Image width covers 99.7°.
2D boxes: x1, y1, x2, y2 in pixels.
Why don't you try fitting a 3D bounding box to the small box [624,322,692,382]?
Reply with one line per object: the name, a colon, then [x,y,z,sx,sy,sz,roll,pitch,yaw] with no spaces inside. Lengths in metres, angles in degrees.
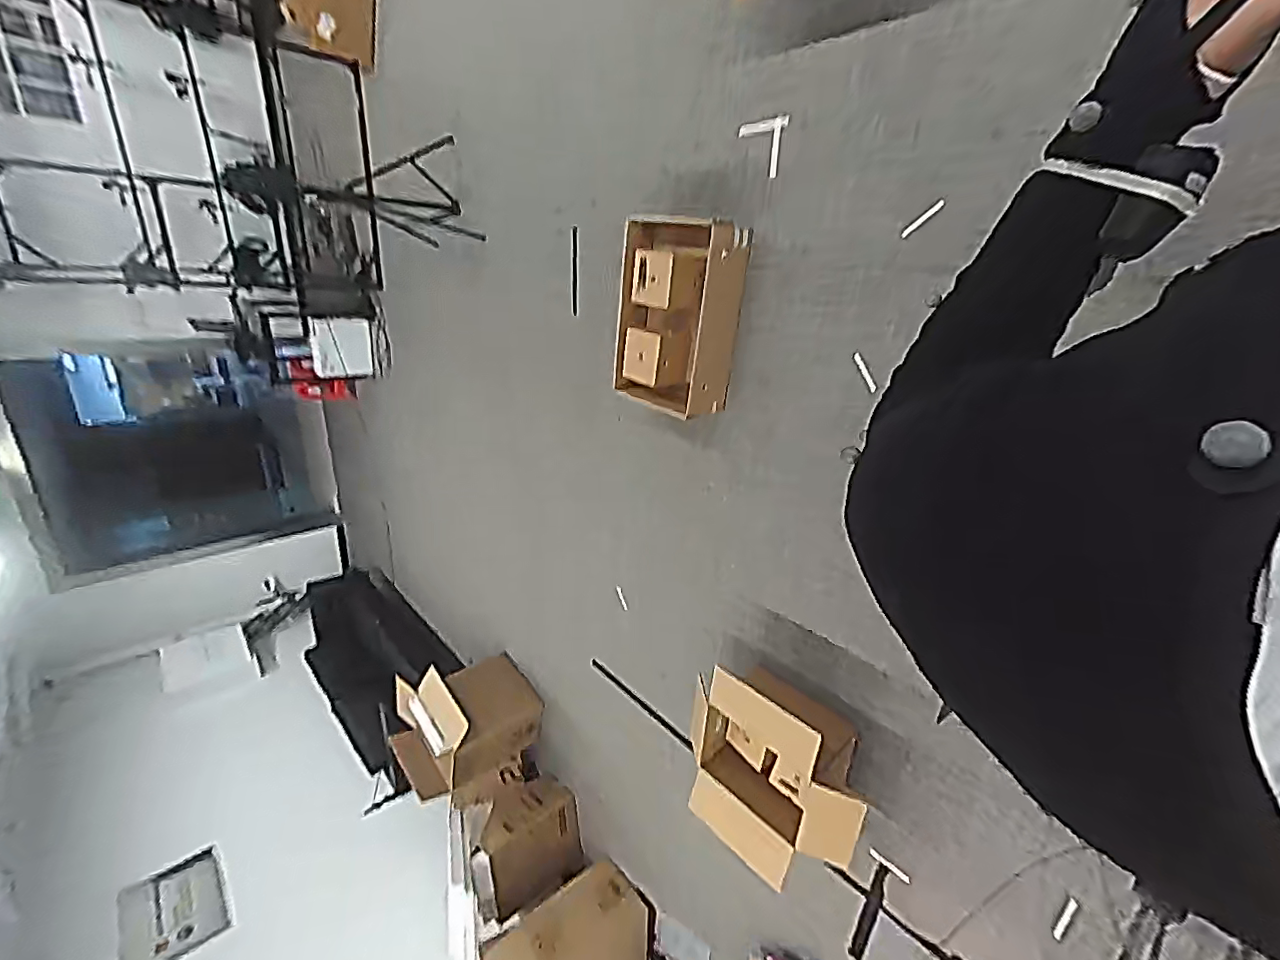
small box: [0.065,-0.462,1.935,0.168,0.176,0.179,28,120,38]
